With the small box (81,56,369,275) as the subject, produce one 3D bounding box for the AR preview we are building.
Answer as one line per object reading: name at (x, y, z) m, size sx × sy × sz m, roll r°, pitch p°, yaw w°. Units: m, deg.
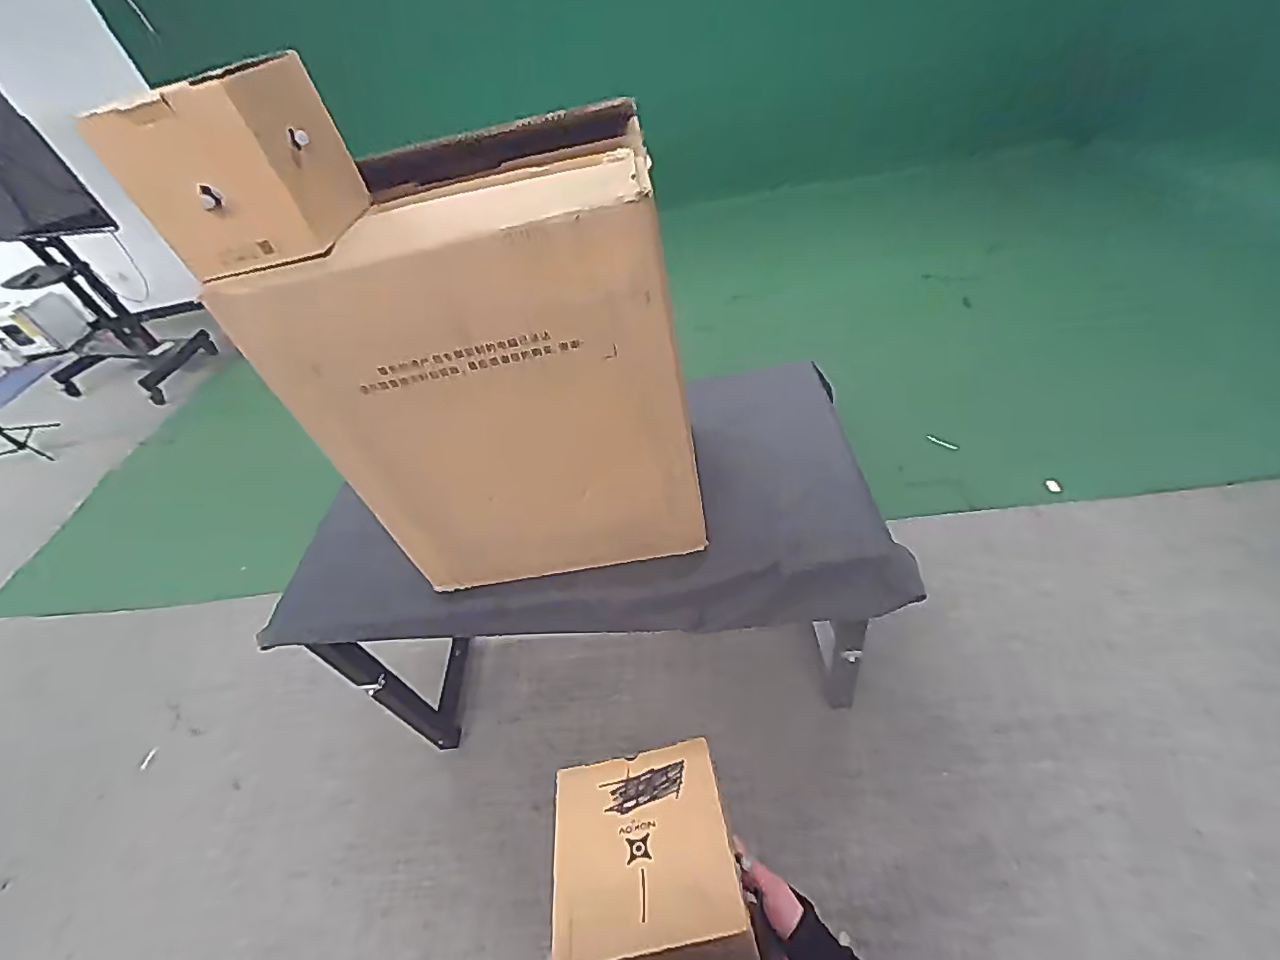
small box at (-0.450, -0.355, 0.627) m, size 0.168 × 0.176 × 0.179 m, roll -9°, pitch 45°, yaw 6°
